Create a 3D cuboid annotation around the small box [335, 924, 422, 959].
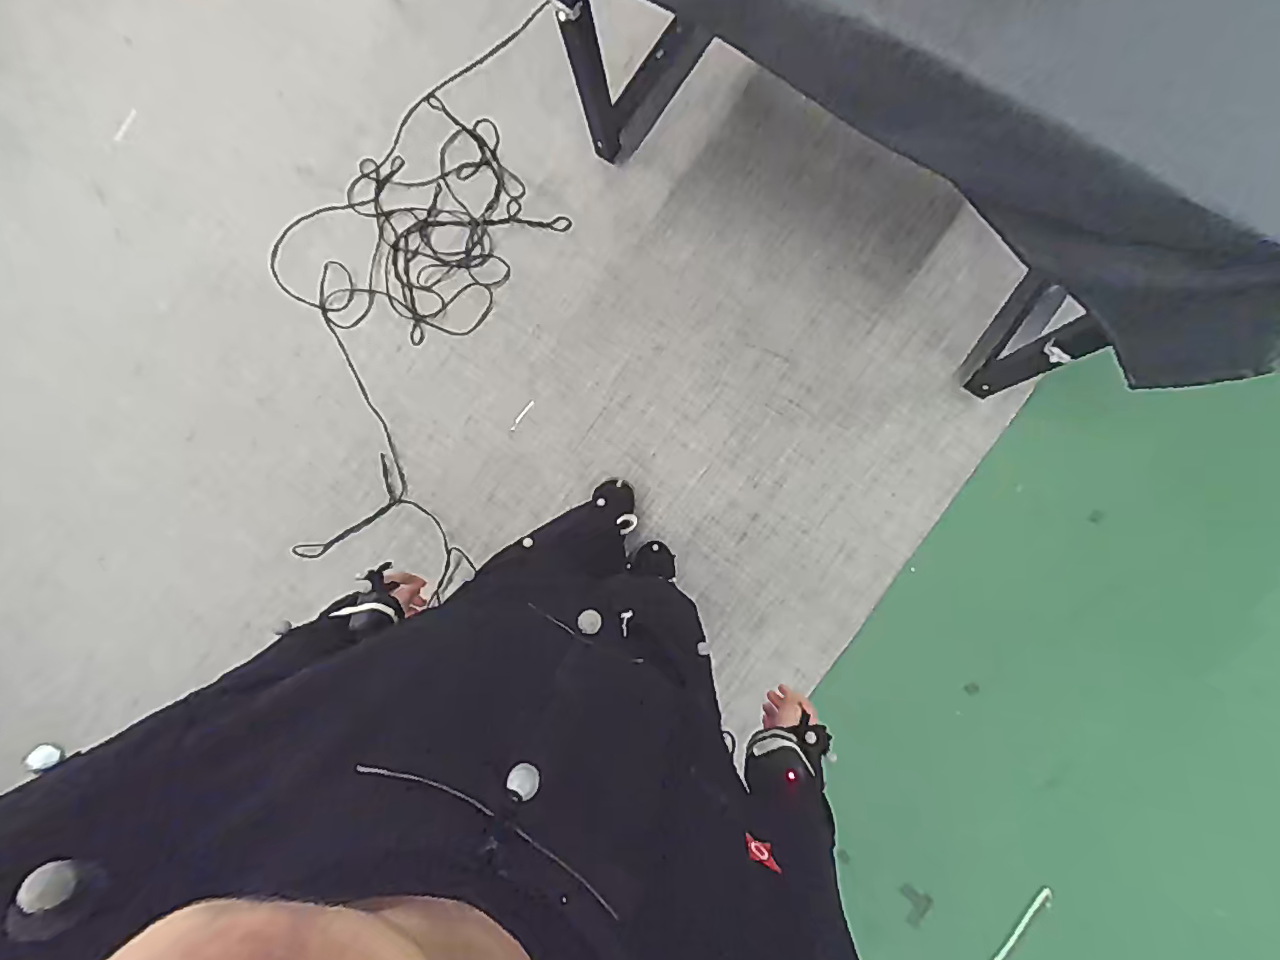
[{"bbox_3d":[-0.637,1.205,1.284,0.168,0.176,0.179,-19,86,6],"label":"small box"}]
